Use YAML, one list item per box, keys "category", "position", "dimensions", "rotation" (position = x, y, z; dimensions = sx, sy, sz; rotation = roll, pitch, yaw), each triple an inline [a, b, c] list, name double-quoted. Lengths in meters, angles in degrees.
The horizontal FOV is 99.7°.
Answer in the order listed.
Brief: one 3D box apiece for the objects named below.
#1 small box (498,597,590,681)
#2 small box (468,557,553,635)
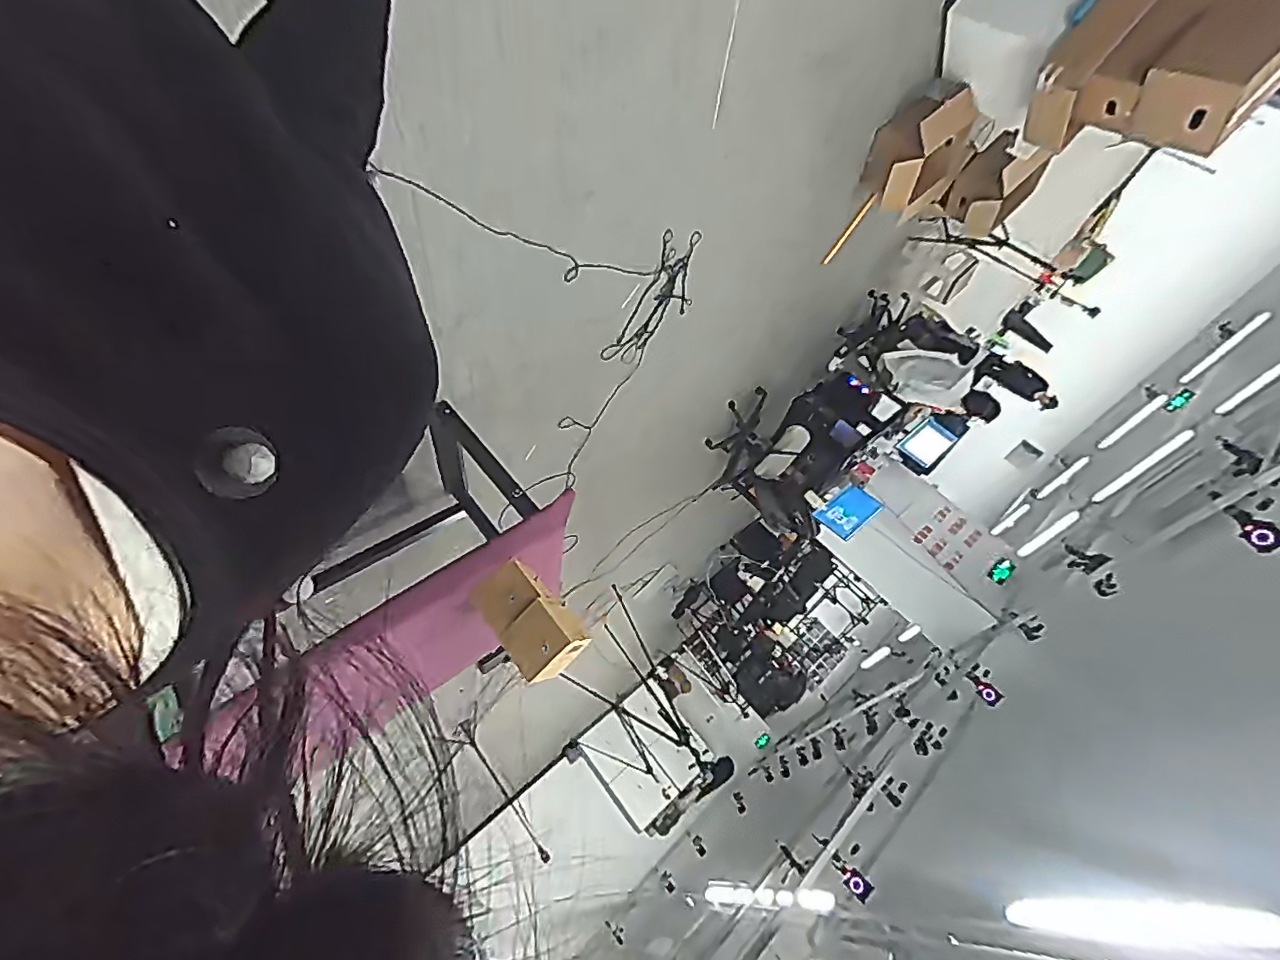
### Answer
- category: "small box"
  position: [-0.289, 0.465, 1.615]
  dimensions: [0.179, 0.176, 0.168]
  rotation: [-45, 158, 4]
- category: "small box"
  position: [-0.400, 0.367, 1.688]
  dimensions: [0.179, 0.176, 0.168]
  rotation: [-42, 158, -7]
